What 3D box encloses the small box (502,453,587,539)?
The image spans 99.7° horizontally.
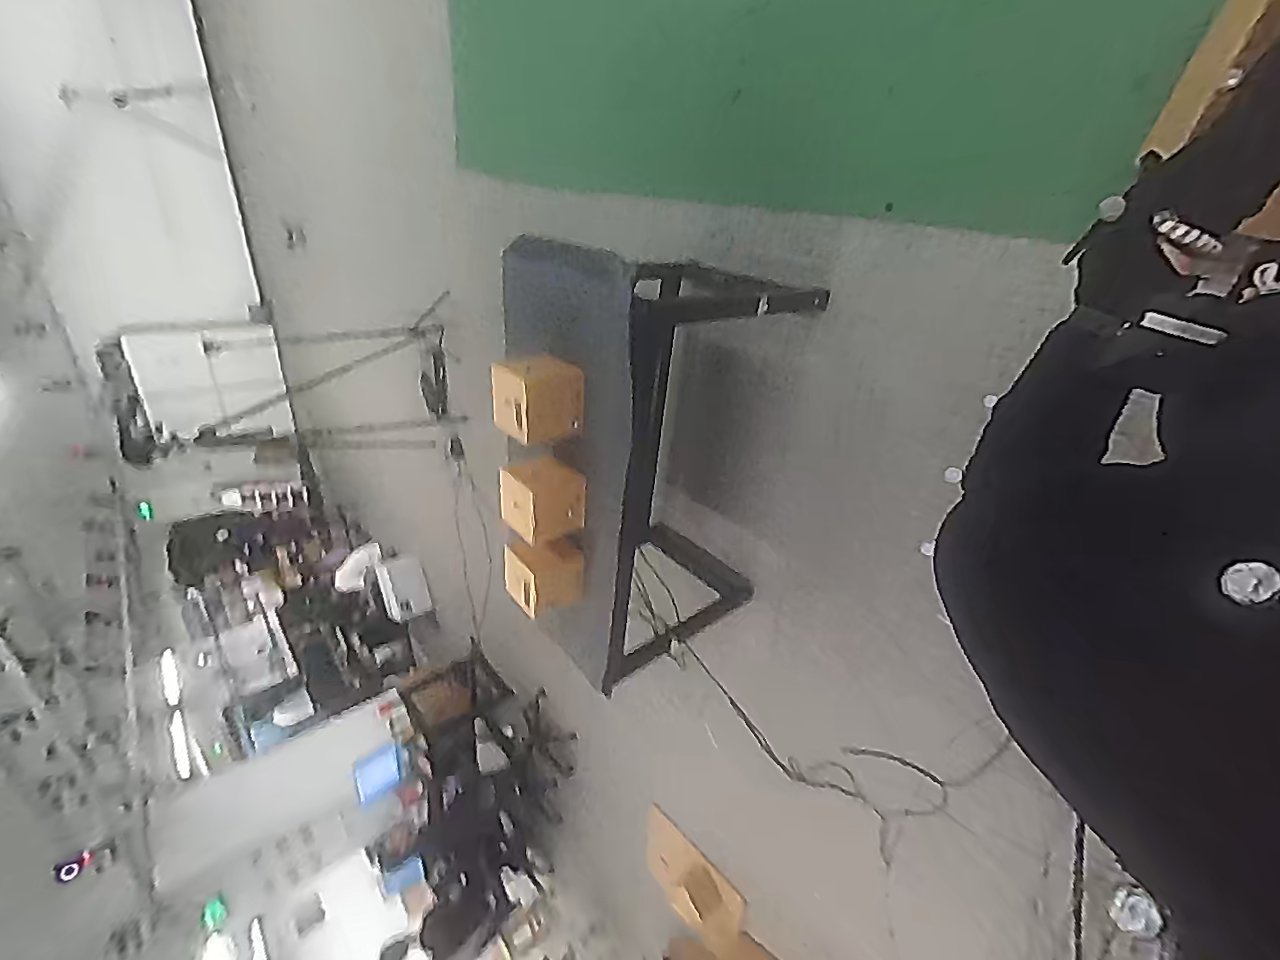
[{"bbox_3d":[-0.267,0.036,1.497,0.179,0.176,0.168,31,126,40],"label":"small box"}]

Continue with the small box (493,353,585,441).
[{"bbox_3d":[-0.254,-0.219,1.375,0.179,0.176,0.168,32,127,41],"label":"small box"}]
